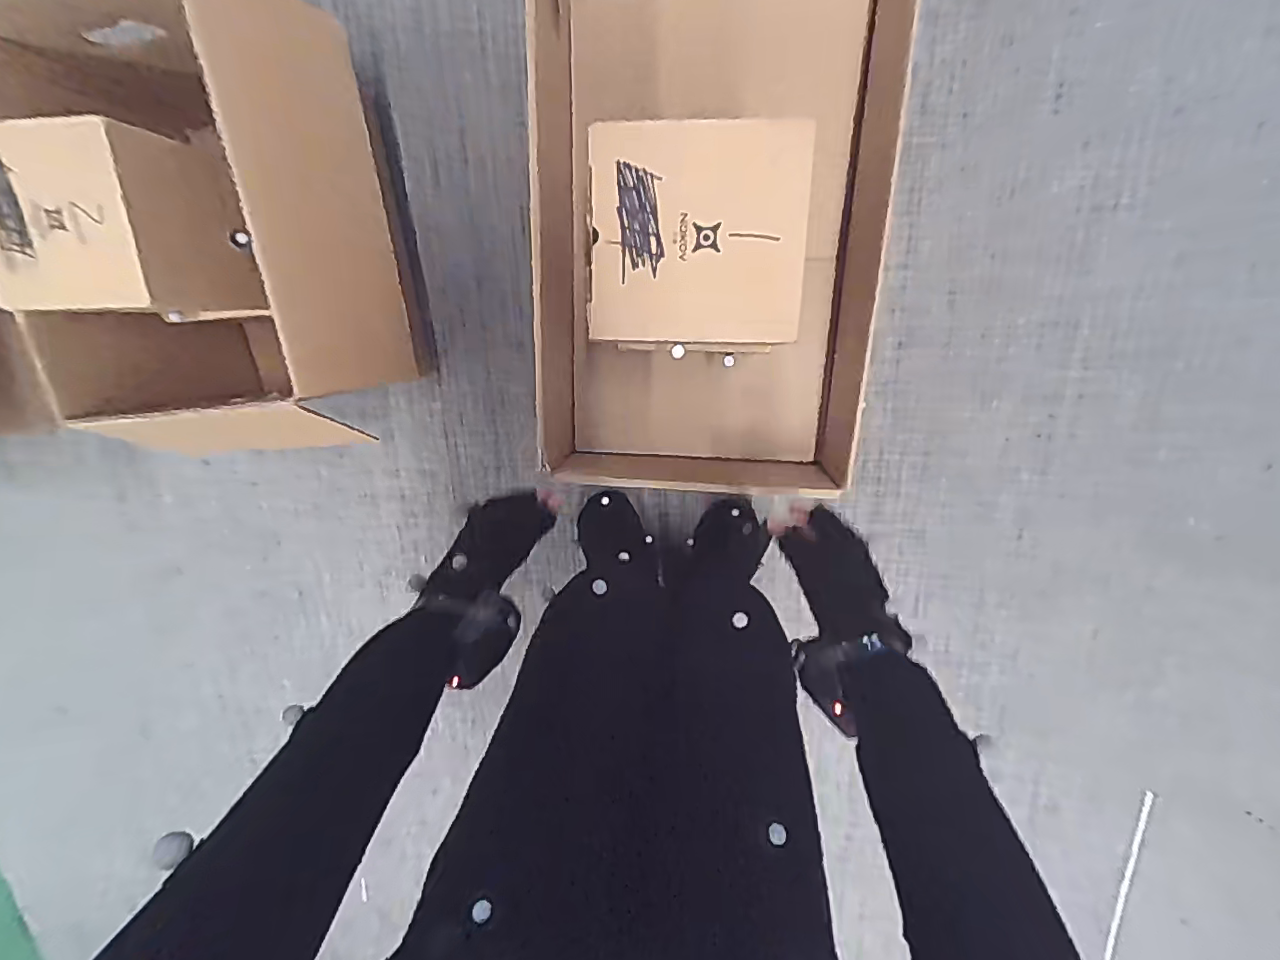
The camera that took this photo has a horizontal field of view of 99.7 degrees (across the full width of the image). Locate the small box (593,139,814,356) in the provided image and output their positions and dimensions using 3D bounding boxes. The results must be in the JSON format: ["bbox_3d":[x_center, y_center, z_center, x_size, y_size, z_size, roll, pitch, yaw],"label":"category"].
[{"bbox_3d":[0.056,-0.209,0.527,0.179,0.176,0.168,3,103,4],"label":"small box"}]
